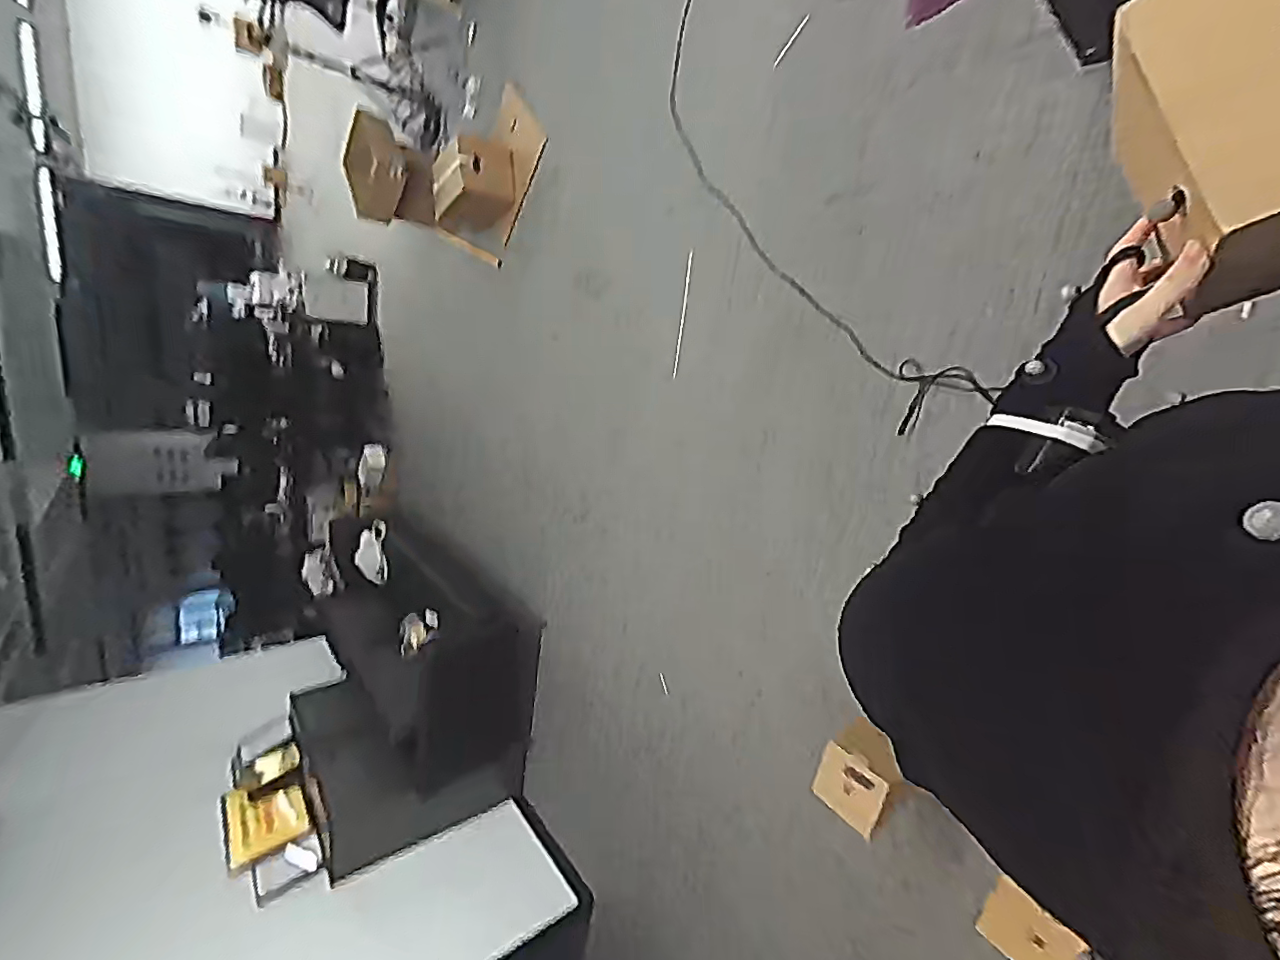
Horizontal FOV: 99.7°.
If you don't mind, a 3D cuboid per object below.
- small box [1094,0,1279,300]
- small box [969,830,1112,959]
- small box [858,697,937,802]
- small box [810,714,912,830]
[{"bbox_3d":[0.437,-0.244,0.362,0.168,0.176,0.179,-20,72,37],"label":"small box"},{"bbox_3d":[0.830,0.879,1.118,0.179,0.176,0.168,29,115,45],"label":"small box"},{"bbox_3d":[0.702,0.742,1.515,0.168,0.176,0.179,28,113,46],"label":"small box"},{"bbox_3d":[0.577,0.748,1.407,0.168,0.176,0.179,29,116,45],"label":"small box"}]
